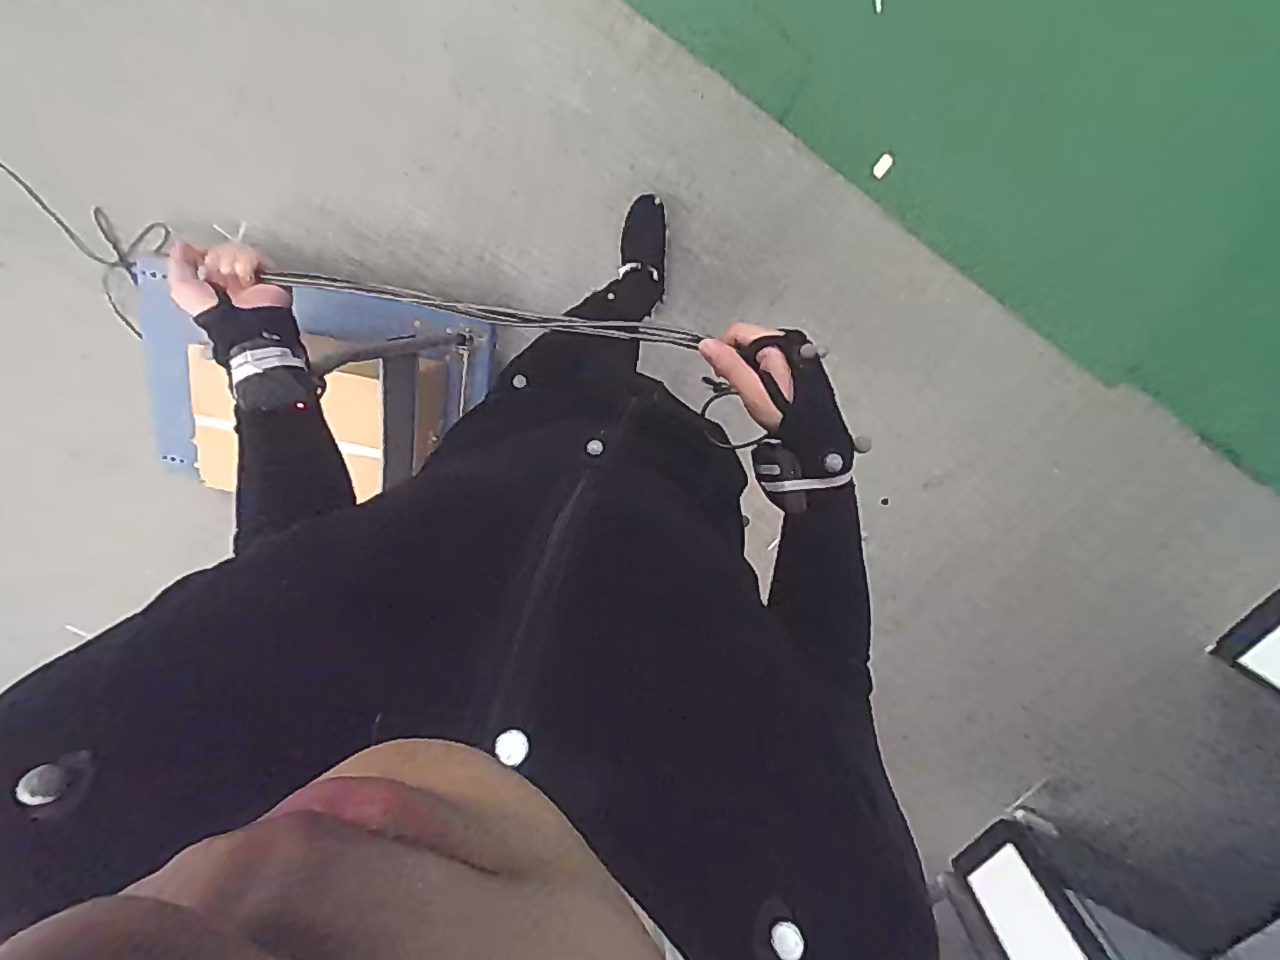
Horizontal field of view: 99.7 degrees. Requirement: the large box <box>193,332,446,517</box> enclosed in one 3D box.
[{"bbox_3d":[-0.706,-0.143,1.257,0.408,0.320,0.320,11,109,-1],"label":"large box"}]
